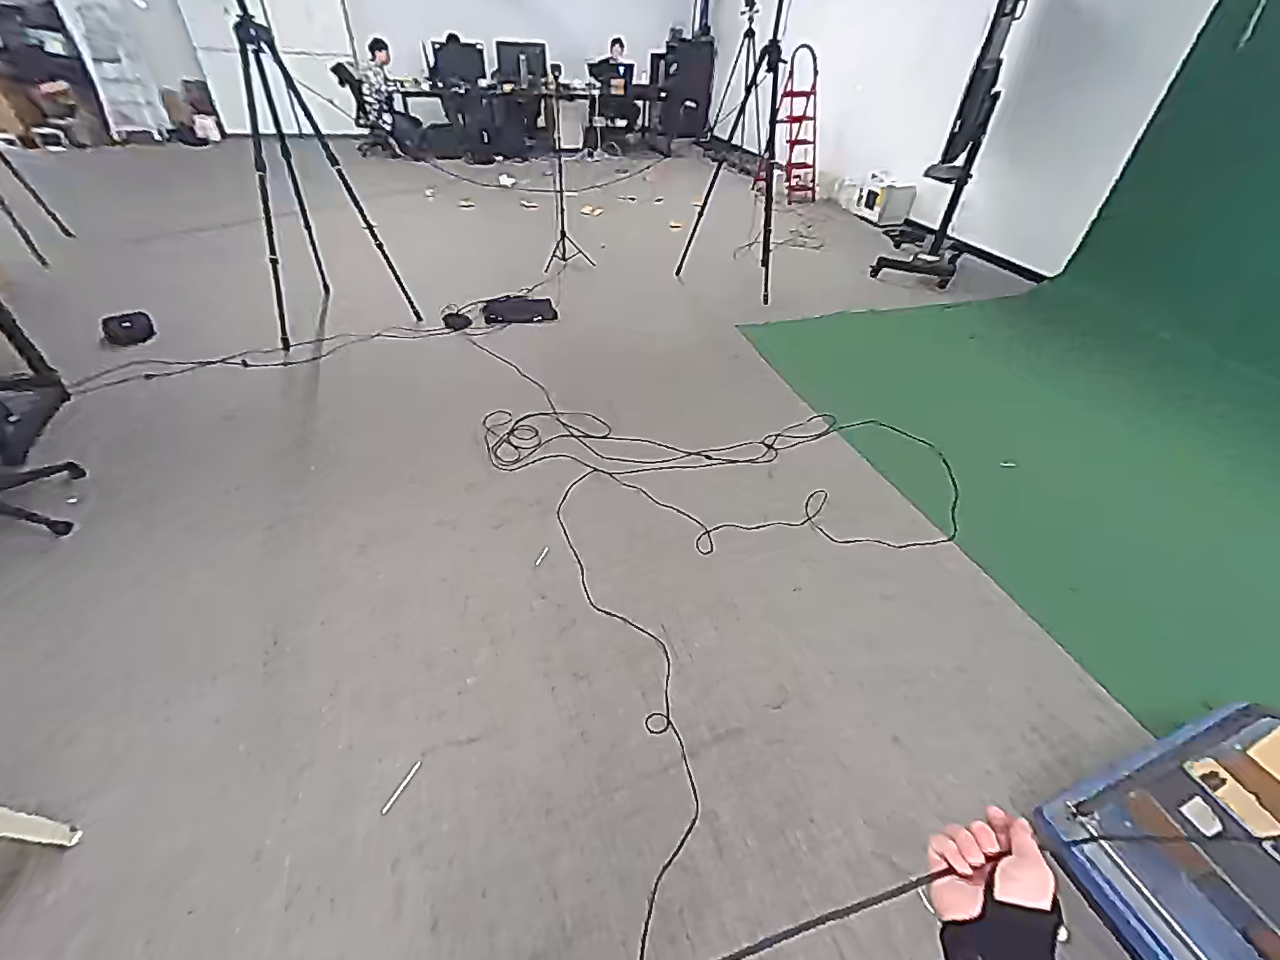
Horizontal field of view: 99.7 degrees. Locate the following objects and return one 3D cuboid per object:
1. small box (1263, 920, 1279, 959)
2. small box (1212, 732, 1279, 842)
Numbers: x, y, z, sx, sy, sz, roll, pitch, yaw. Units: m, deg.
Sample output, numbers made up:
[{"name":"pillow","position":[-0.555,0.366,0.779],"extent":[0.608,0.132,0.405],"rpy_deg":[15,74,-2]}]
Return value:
[{"name":"small box","position":[1.448,0.964,1.088],"extent":[0.179,0.176,0.168],"rpy_deg":[-12,43,-16]},{"name":"small box","position":[1.594,0.756,1.336],"extent":[0.179,0.176,0.168],"rpy_deg":[-15,45,-19]}]
